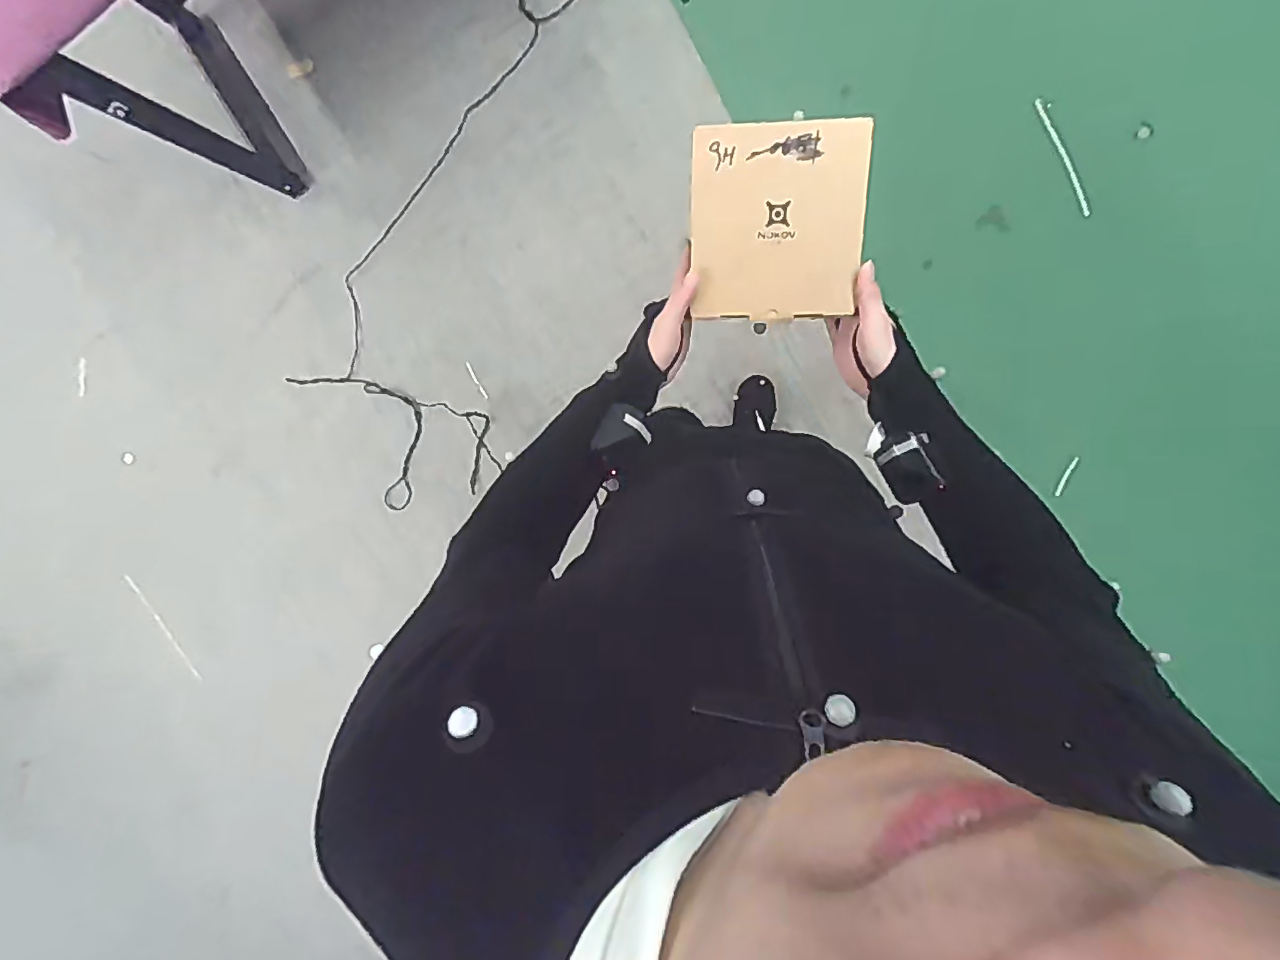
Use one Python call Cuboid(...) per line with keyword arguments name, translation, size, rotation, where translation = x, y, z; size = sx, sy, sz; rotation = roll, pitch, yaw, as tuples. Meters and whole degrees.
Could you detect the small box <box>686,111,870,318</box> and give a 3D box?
Cuboid(name="small box", translation=(0.137, -0.274, 0.594), size=(0.168, 0.176, 0.179), rotation=(0, 107, 6))
